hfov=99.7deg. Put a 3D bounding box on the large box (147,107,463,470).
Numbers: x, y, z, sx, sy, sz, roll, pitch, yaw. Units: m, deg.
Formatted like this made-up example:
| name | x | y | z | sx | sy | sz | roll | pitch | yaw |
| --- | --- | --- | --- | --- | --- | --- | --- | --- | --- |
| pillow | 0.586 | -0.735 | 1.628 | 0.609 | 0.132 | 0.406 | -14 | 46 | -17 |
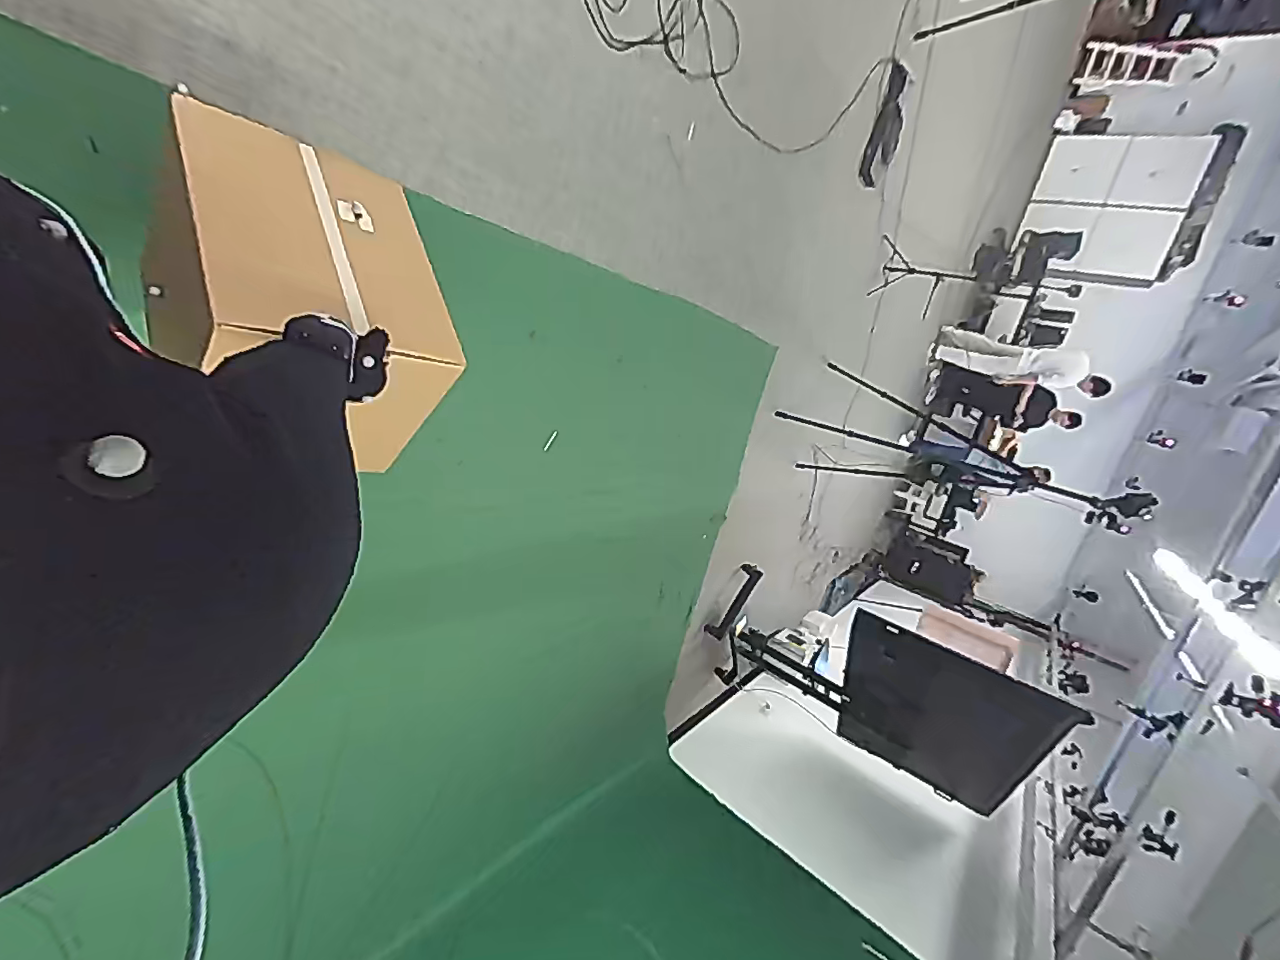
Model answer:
| name | x | y | z | sx | sy | sz | roll | pitch | yaw |
| --- | --- | --- | --- | --- | --- | --- | --- | --- | --- |
| large box | -0.546 | -0.262 | 0.865 | 0.320 | 0.408 | 0.320 | -38 | 157 | 33 |
